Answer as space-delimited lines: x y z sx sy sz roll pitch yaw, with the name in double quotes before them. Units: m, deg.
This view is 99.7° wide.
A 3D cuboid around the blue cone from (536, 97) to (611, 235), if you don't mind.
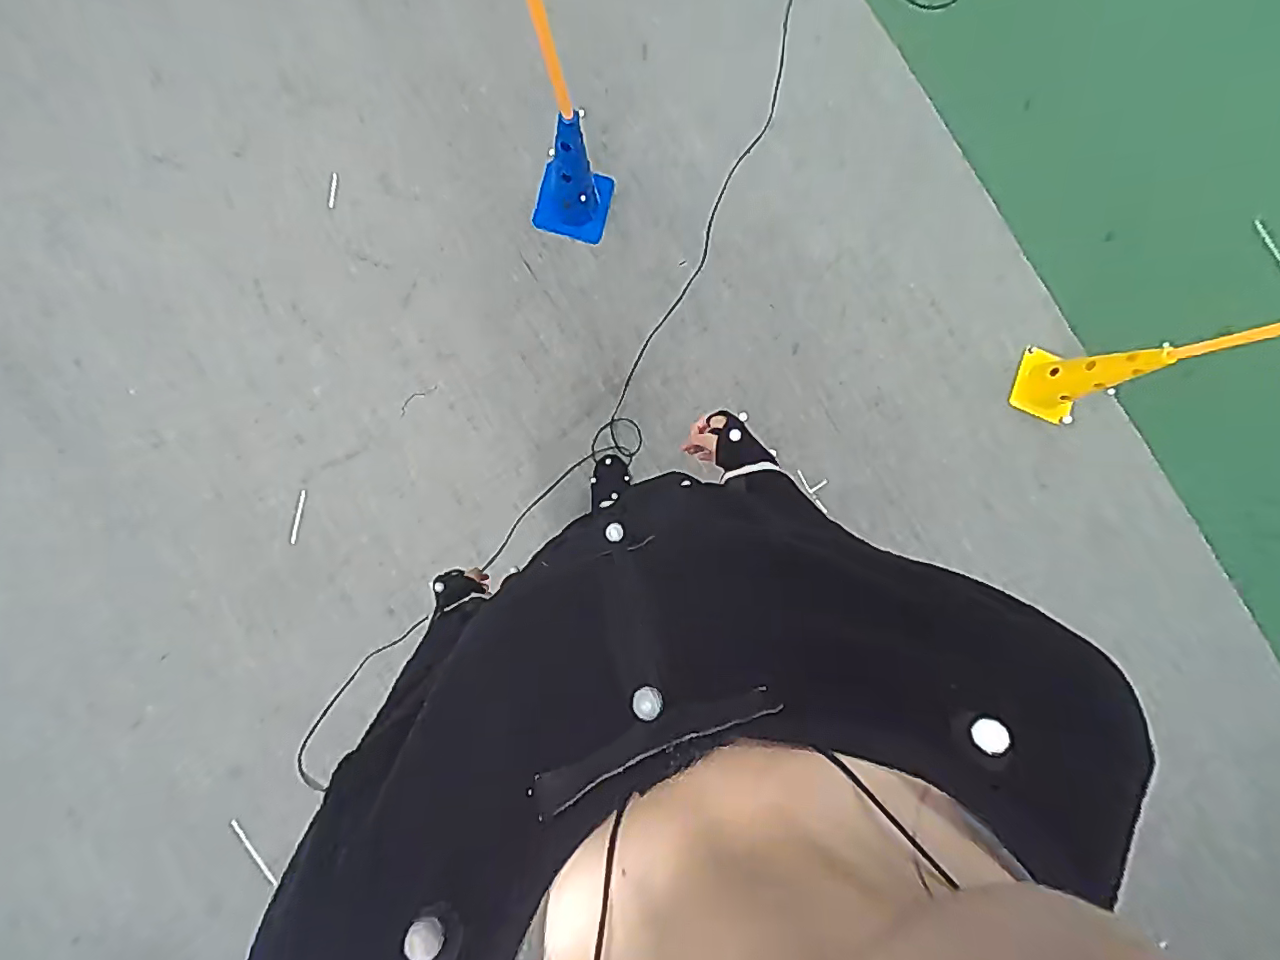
"blue cone" -0.174 -0.787 1.337 0.193 0.380 0.192 12 88 -4
